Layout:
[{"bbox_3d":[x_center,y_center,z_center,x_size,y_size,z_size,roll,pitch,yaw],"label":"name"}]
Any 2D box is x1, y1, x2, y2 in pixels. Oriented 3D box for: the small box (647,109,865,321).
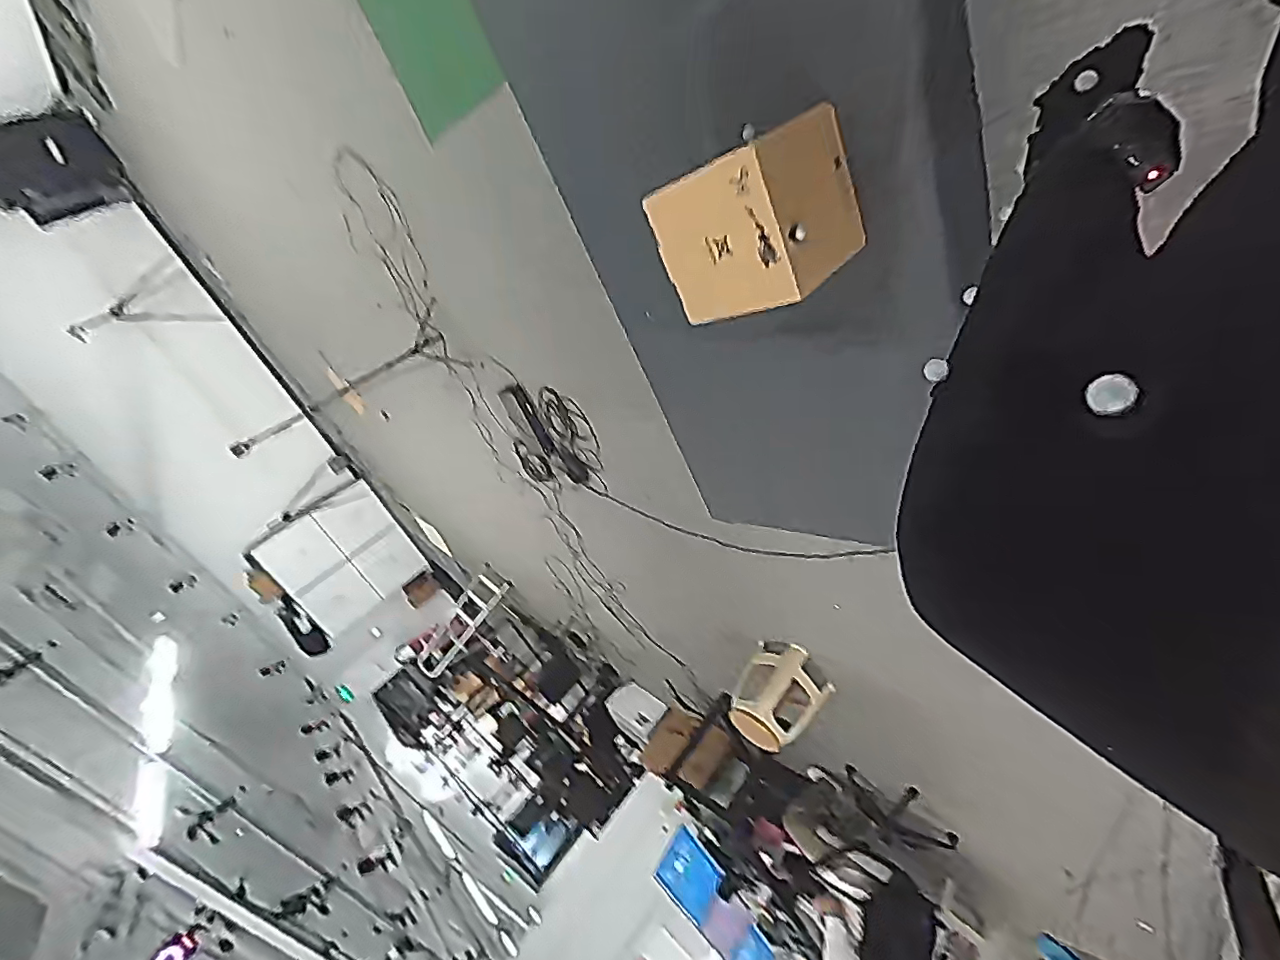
[{"bbox_3d":[0.147,-0.322,0.677,0.179,0.176,0.168,6,132,51],"label":"small box"}]
